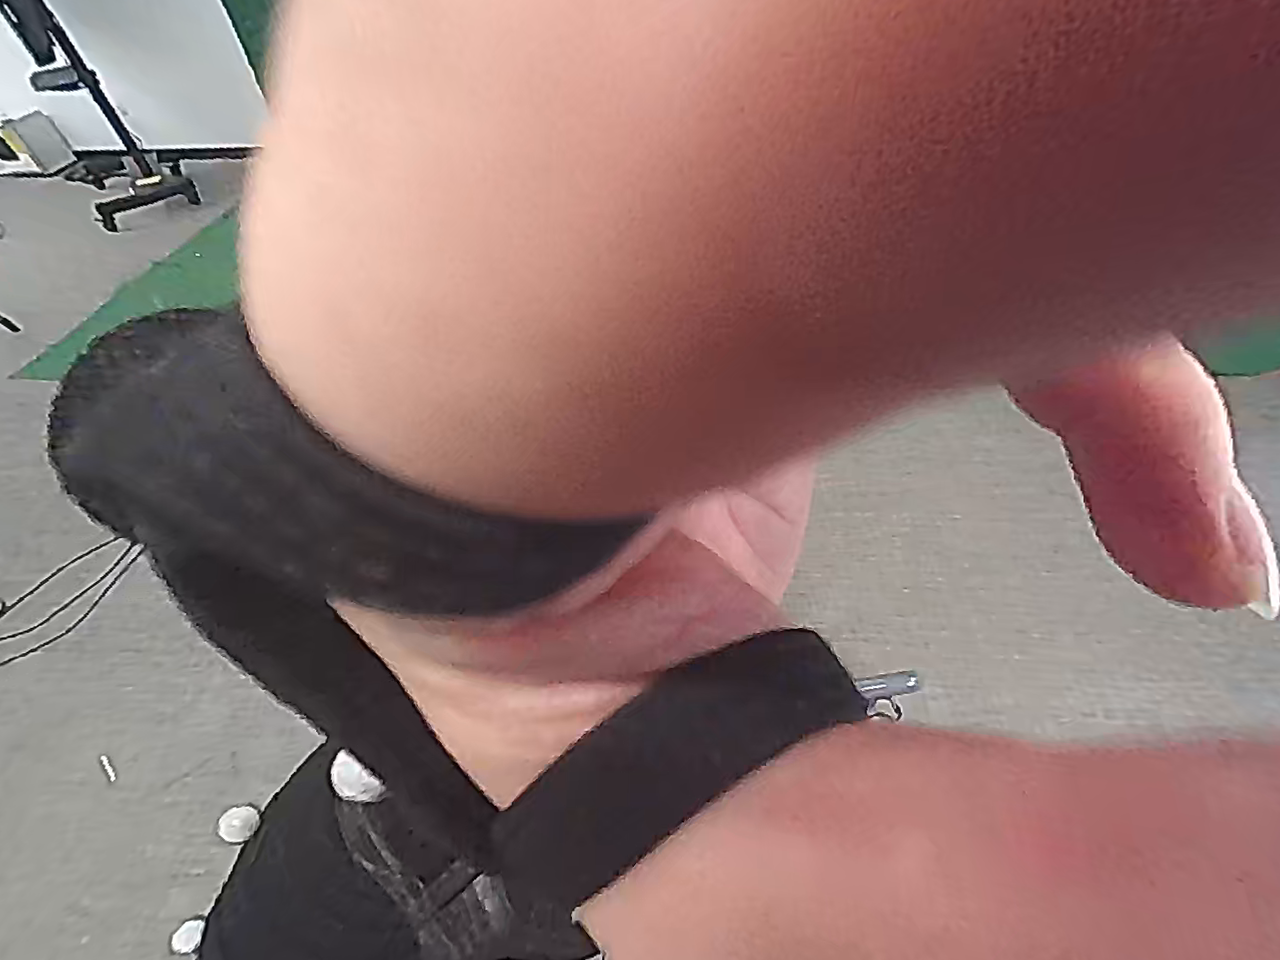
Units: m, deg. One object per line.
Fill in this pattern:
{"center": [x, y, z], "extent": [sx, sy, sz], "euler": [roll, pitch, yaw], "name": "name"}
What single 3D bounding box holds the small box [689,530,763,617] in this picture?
{"center": [0.240, 0.272, 1.563], "extent": [0.168, 0.176, 0.179], "euler": [-9, 50, -5], "name": "small box"}
